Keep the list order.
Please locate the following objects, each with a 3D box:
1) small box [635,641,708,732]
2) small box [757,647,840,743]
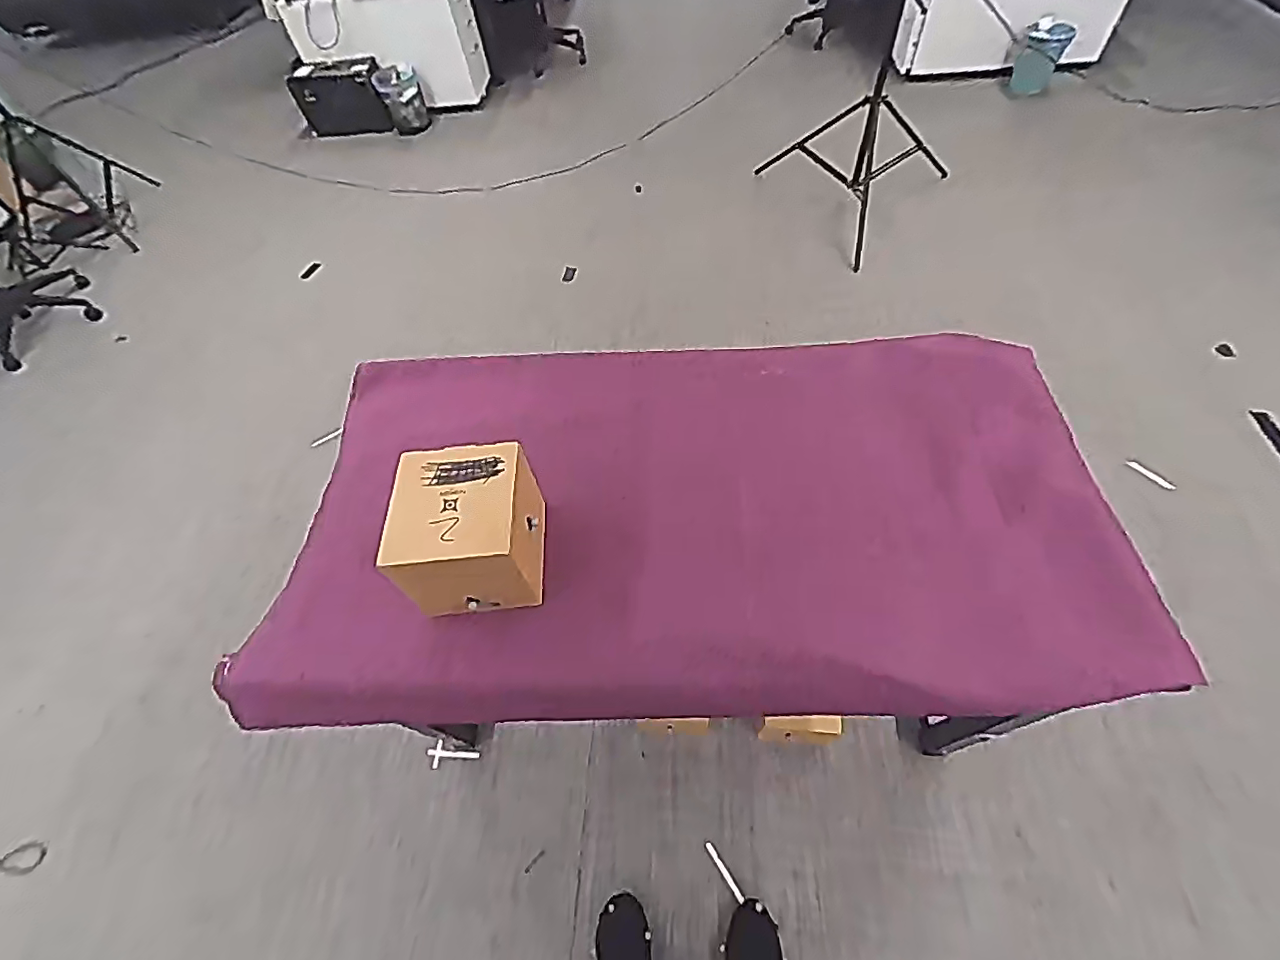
[{"bbox_3d":[0.083,0.508,1.322,0.168,0.176,0.179,1,56,6],"label":"small box"},{"bbox_3d":[0.371,0.517,1.290,0.168,0.176,0.179,3,56,8],"label":"small box"}]
